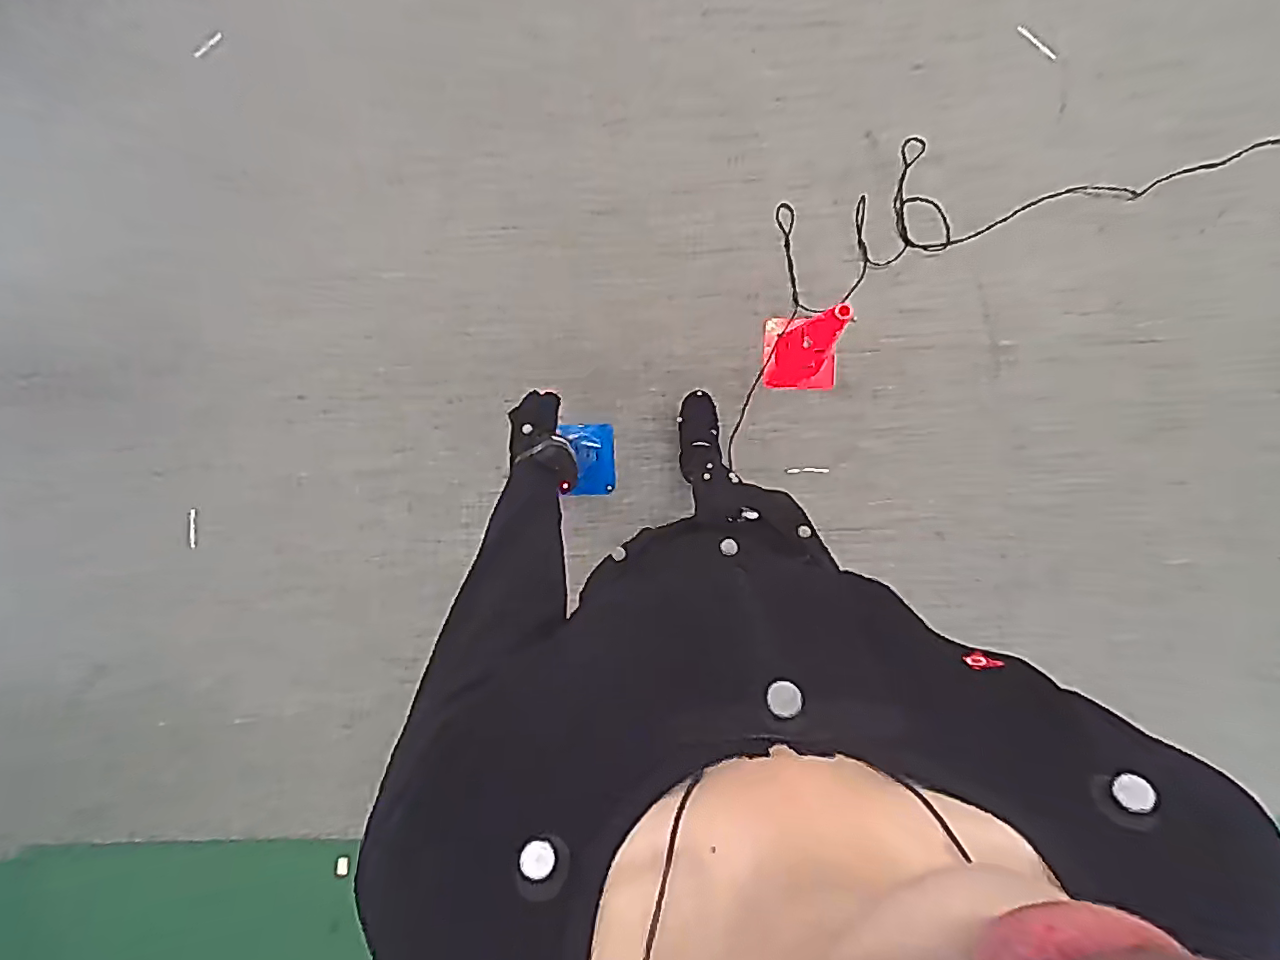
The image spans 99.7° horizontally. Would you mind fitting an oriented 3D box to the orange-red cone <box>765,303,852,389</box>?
[{"bbox_3d":[0.448,-0.360,1.345,0.198,0.360,0.199,3,89,2],"label":"orange-red cone"}]
